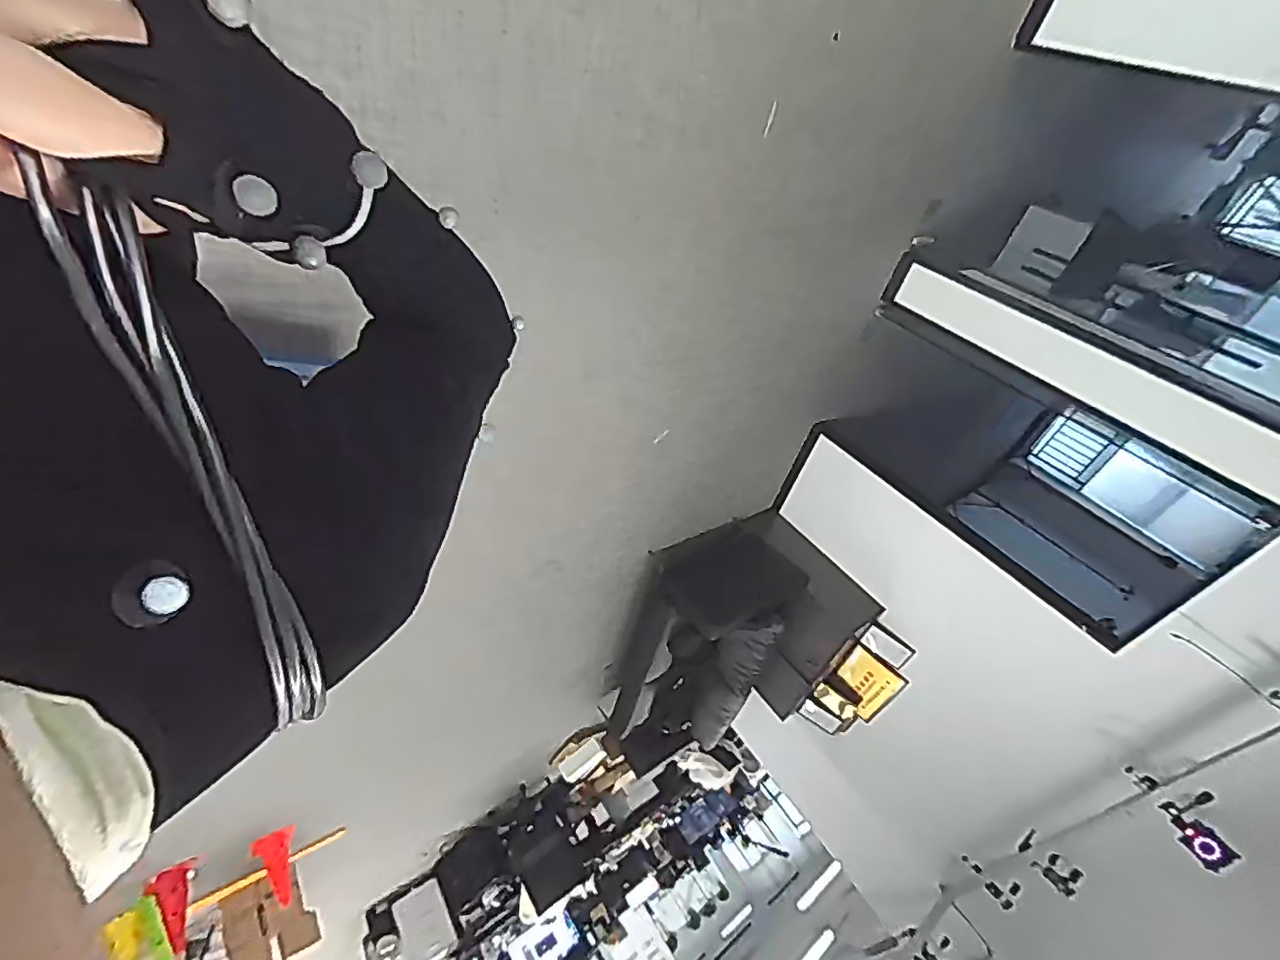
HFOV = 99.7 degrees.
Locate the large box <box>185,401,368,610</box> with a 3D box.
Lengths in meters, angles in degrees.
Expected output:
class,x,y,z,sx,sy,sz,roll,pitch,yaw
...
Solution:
class,x,y,z,sx,sy,sz,roll,pitch,yaw
large box,-0.925,0.049,1.364,0.320,0.320,0.408,-4,131,-45
